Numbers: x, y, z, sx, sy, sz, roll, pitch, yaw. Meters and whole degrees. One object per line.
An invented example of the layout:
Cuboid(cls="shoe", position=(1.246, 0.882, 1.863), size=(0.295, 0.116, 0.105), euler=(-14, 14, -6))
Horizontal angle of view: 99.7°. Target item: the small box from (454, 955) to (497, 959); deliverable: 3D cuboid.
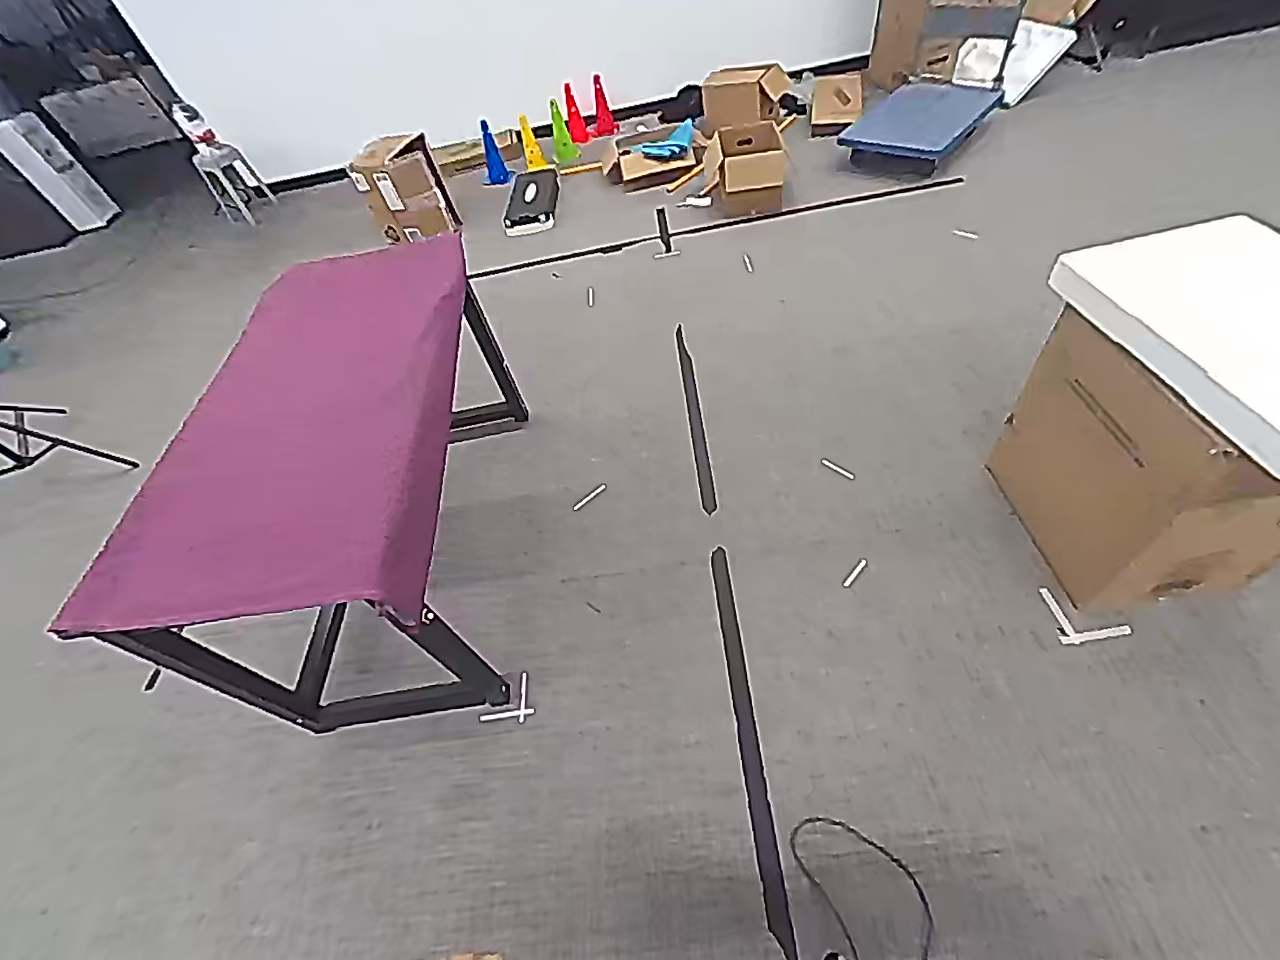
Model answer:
Cuboid(cls="small box", position=(-0.225, 0.695, 0.605), size=(0.168, 0.176, 0.179), euler=(-24, 5, 20))
